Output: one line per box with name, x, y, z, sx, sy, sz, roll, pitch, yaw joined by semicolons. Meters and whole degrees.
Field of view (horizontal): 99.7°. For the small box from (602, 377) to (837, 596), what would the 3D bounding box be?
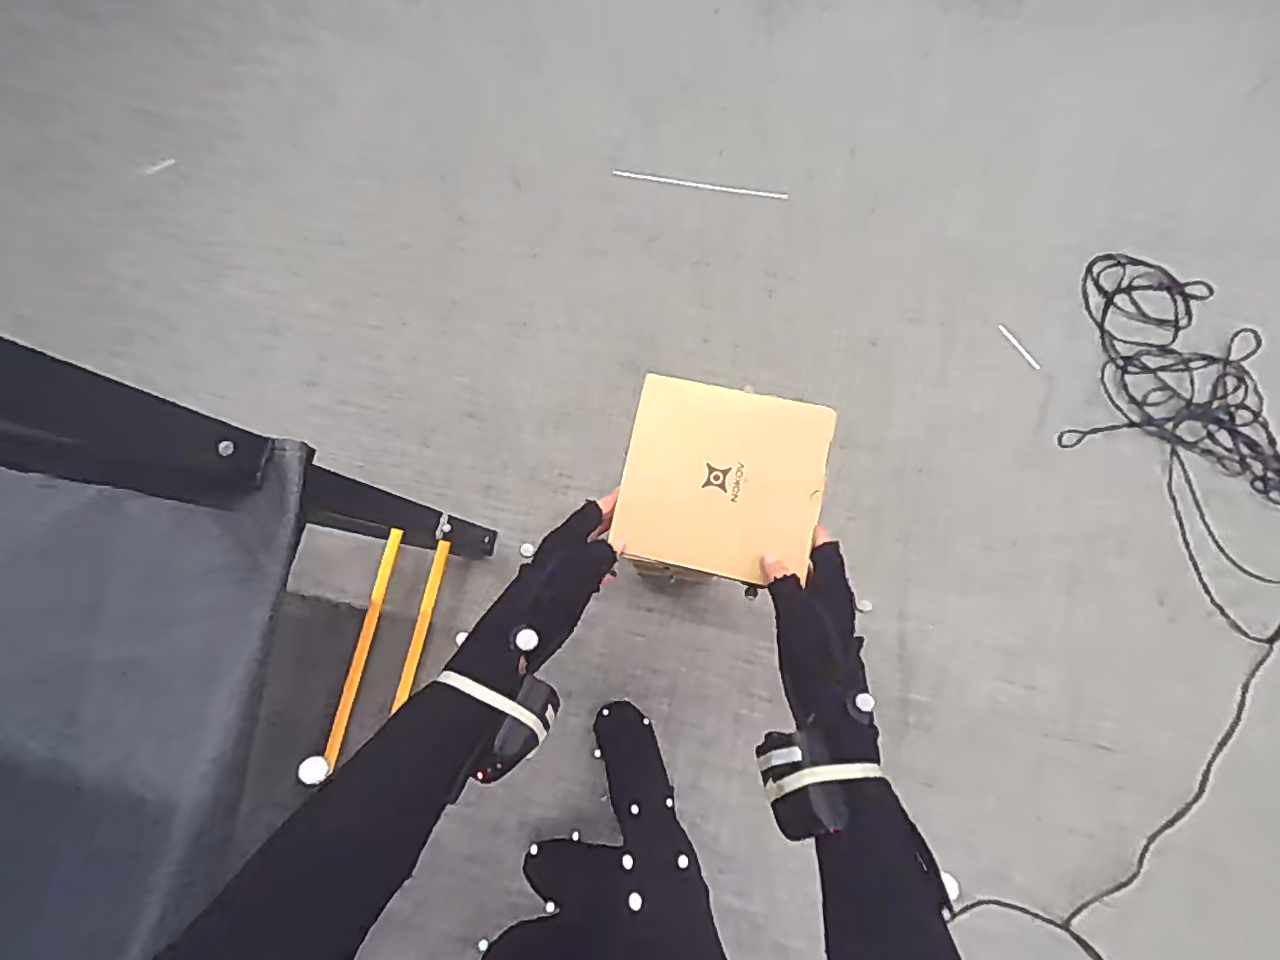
small box;0.077;0.012;0.547;0.179;0.176;0.168;12;85;7
